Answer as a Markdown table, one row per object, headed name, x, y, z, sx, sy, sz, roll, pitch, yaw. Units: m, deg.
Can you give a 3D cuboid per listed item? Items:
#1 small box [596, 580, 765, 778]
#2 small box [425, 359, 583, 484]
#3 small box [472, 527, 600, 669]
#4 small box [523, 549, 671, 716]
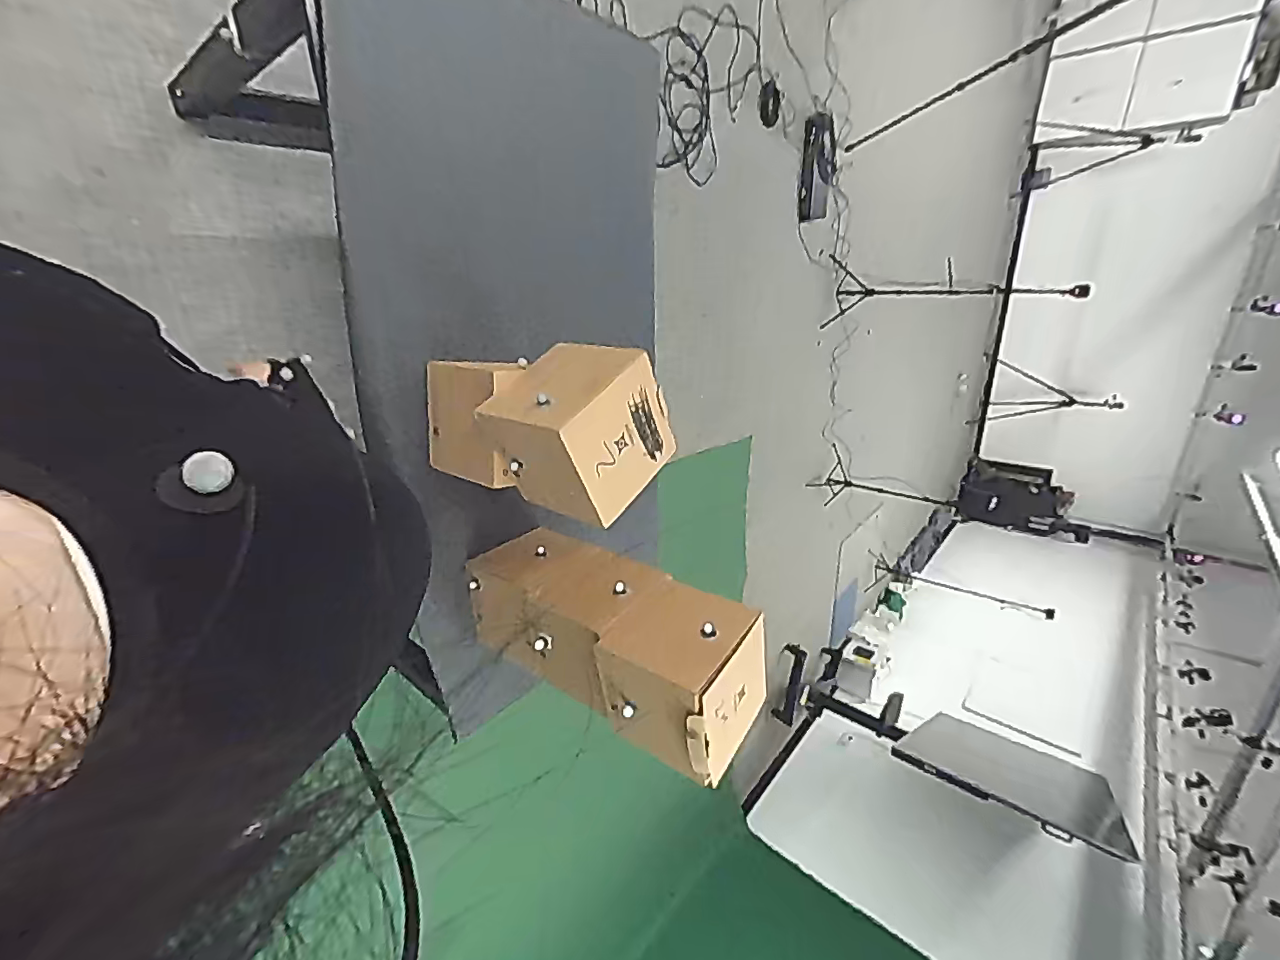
| name | x | y | z | sx | sy | sz | roll | pitch | yaw |
| --- | --- | --- | --- | --- | --- | --- | --- | --- | --- |
| small box | 0.062 | 0.267 | 0.771 | 0.179 | 0.176 | 0.168 | -33 | 124 | -43 |
| small box | -0.212 | -0.101 | 0.848 | 0.179 | 0.176 | 0.168 | -14 | 112 | -50 |
| small box | -0.185 | 0.202 | 0.976 | 0.179 | 0.176 | 0.168 | -26 | 120 | -47 |
| small box | -0.061 | 0.232 | 0.876 | 0.179 | 0.176 | 0.168 | -29 | 122 | -44 |
